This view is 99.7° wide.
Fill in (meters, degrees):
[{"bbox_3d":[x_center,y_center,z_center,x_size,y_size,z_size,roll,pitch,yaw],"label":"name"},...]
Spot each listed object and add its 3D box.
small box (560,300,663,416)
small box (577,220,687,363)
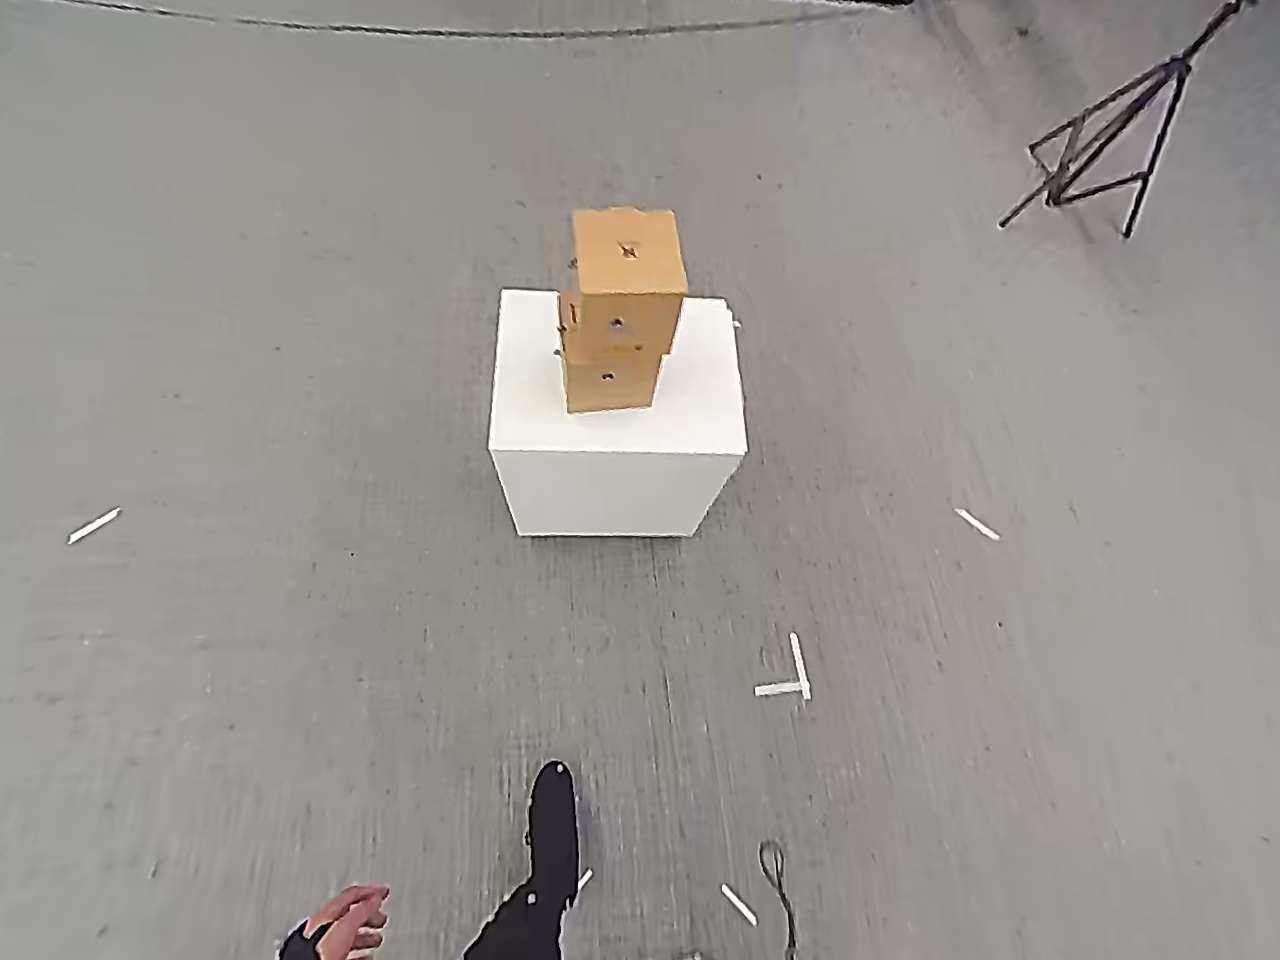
[{"bbox_3d":[-0.061,-0.237,1.068,0.179,0.176,0.168,-5,67,-10],"label":"small box"},{"bbox_3d":[-0.021,-0.316,0.929,0.168,0.176,0.179,-3,66,-8],"label":"small box"}]
